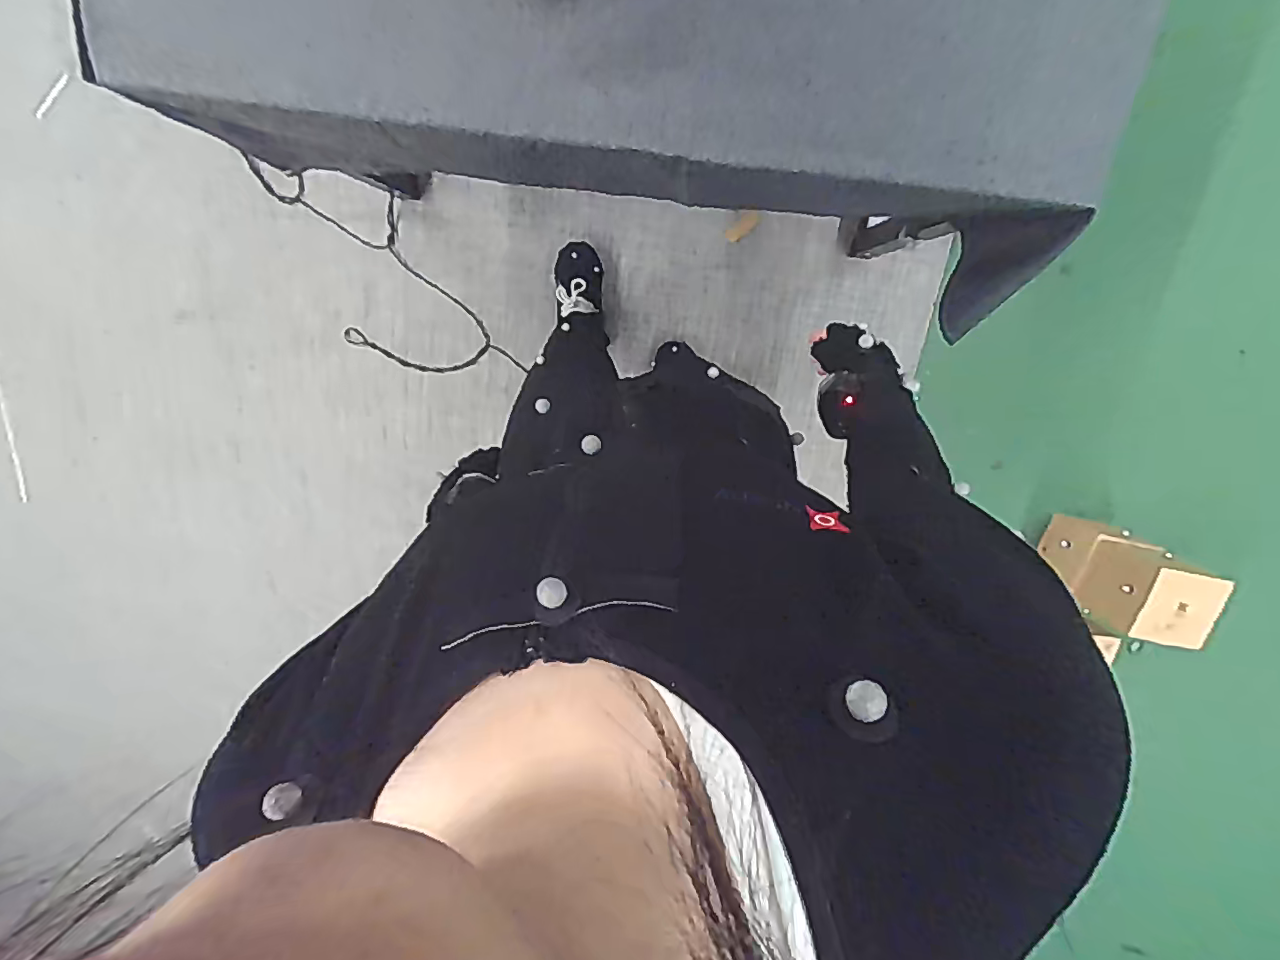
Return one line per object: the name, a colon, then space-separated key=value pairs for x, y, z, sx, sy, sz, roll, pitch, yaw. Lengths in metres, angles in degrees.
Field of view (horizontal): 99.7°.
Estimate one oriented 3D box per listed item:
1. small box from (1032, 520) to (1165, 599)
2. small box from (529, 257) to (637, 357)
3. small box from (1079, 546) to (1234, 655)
small box: x=1.180 y=0.217 z=1.410 sx=0.179 sy=0.176 sz=0.168 roll=13 pitch=106 yaw=-1
small box: x=-0.143 y=-0.416 z=1.303 sx=0.179 sy=0.176 sz=0.168 roll=43 pitch=120 yaw=8
small box: x=1.180 y=0.272 z=1.254 sx=0.168 sy=0.176 sz=0.179 roll=12 pitch=106 yaw=0
